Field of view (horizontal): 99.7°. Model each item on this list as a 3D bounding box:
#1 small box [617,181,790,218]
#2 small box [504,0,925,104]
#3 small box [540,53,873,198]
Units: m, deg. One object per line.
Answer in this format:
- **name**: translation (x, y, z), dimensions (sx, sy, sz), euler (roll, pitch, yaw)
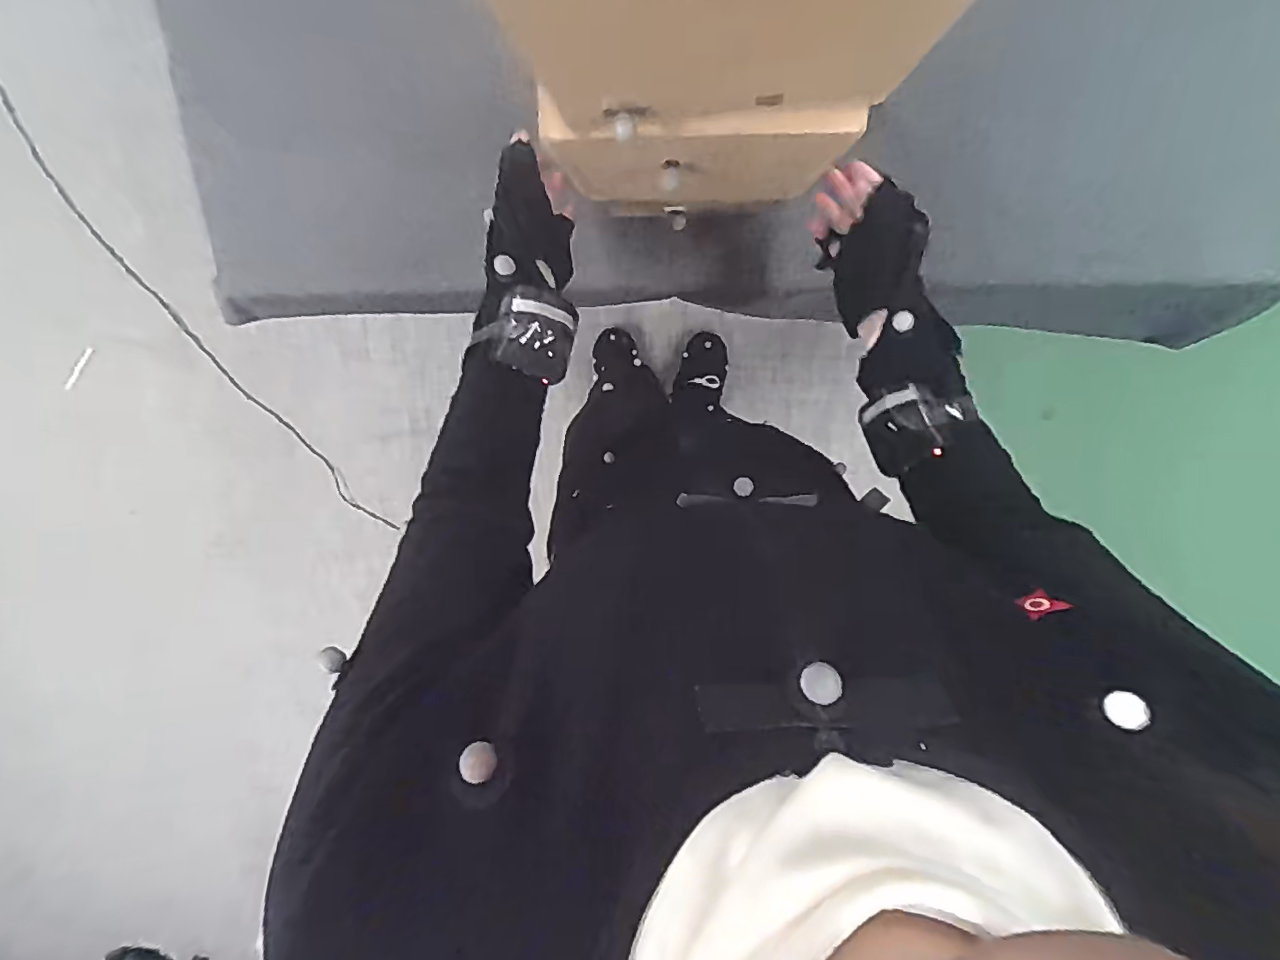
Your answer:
- **small box**: translation (0.050, -0.353, 0.495), dimensions (0.168, 0.176, 0.179), euler (0, 107, 5)
- **small box**: translation (0.029, -0.255, 0.182), dimensions (0.168, 0.176, 0.179), euler (-3, 105, 5)
- **small box**: translation (0.037, -0.293, 0.346), dimensions (0.179, 0.176, 0.168), euler (-2, 104, 4)
